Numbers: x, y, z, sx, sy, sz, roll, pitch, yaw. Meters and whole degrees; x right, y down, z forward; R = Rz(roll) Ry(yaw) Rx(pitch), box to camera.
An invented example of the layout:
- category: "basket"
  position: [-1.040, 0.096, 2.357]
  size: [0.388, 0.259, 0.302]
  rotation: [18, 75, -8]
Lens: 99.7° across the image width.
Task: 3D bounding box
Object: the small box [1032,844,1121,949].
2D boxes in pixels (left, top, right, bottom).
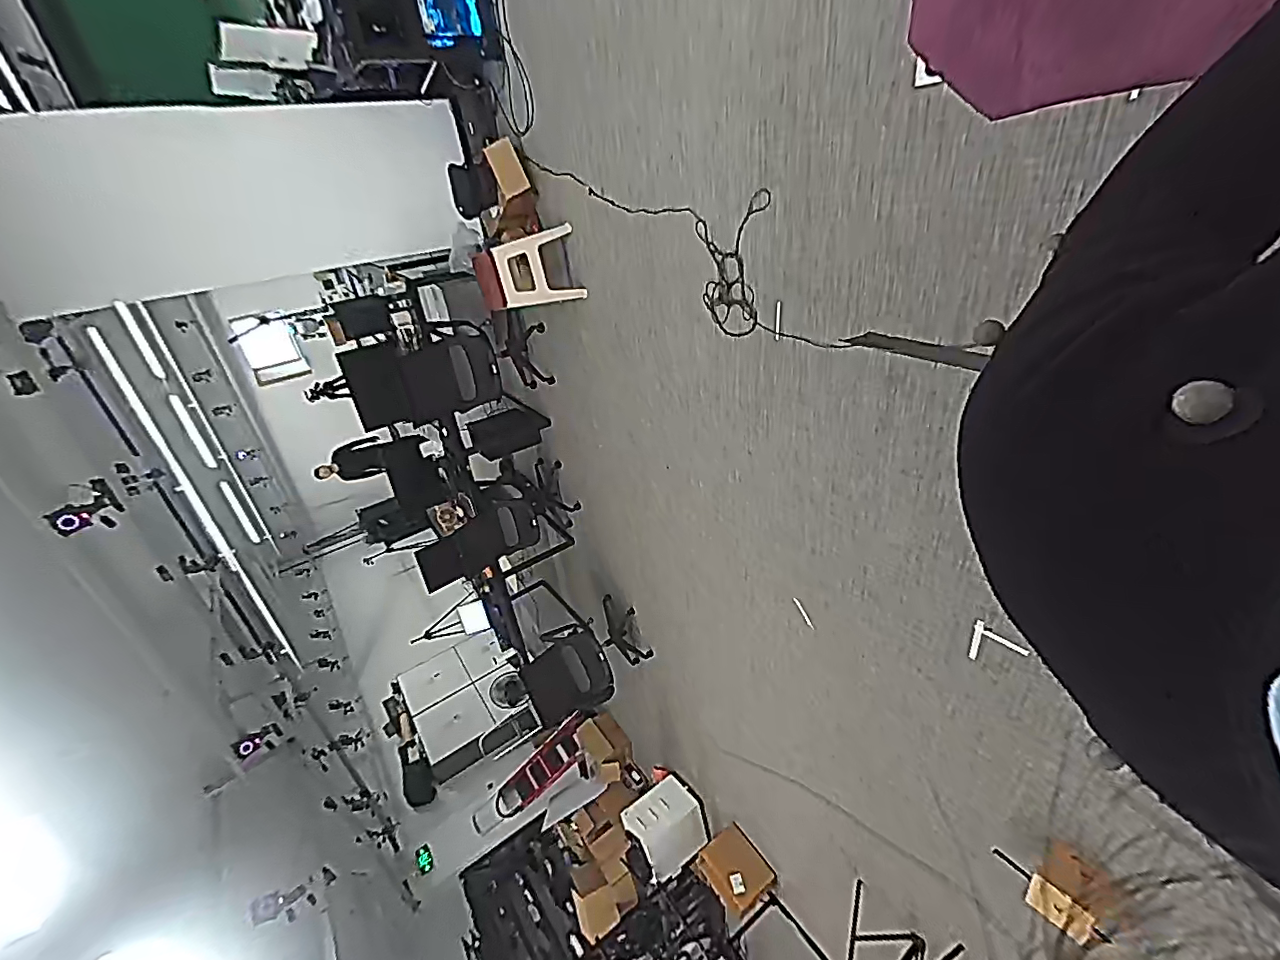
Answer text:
- category: "small box"
  position: [1.407, 1.336, 1.743]
  size: [0.168, 0.176, 0.179]
  rotation: [26, 134, 51]
